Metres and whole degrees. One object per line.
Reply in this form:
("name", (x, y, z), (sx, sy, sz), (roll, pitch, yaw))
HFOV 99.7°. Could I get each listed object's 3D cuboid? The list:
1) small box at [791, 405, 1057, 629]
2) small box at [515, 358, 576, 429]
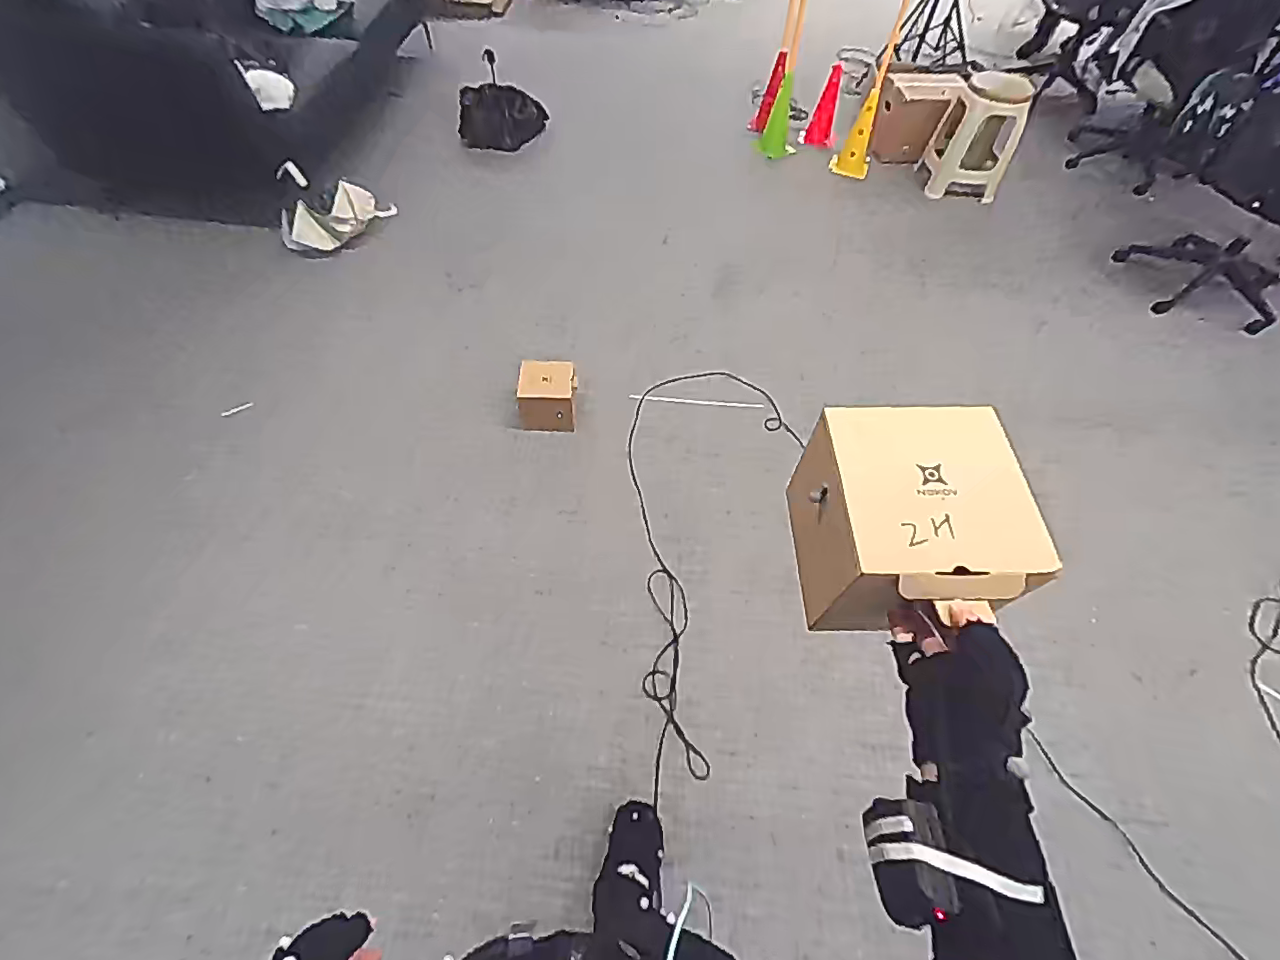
("small box", (0.262, 0.042, 0.555), (0.168, 0.176, 0.179), (-1, 59, 1))
("small box", (-0.307, -0.282, 1.792), (0.179, 0.176, 0.168), (1, 56, -2))
